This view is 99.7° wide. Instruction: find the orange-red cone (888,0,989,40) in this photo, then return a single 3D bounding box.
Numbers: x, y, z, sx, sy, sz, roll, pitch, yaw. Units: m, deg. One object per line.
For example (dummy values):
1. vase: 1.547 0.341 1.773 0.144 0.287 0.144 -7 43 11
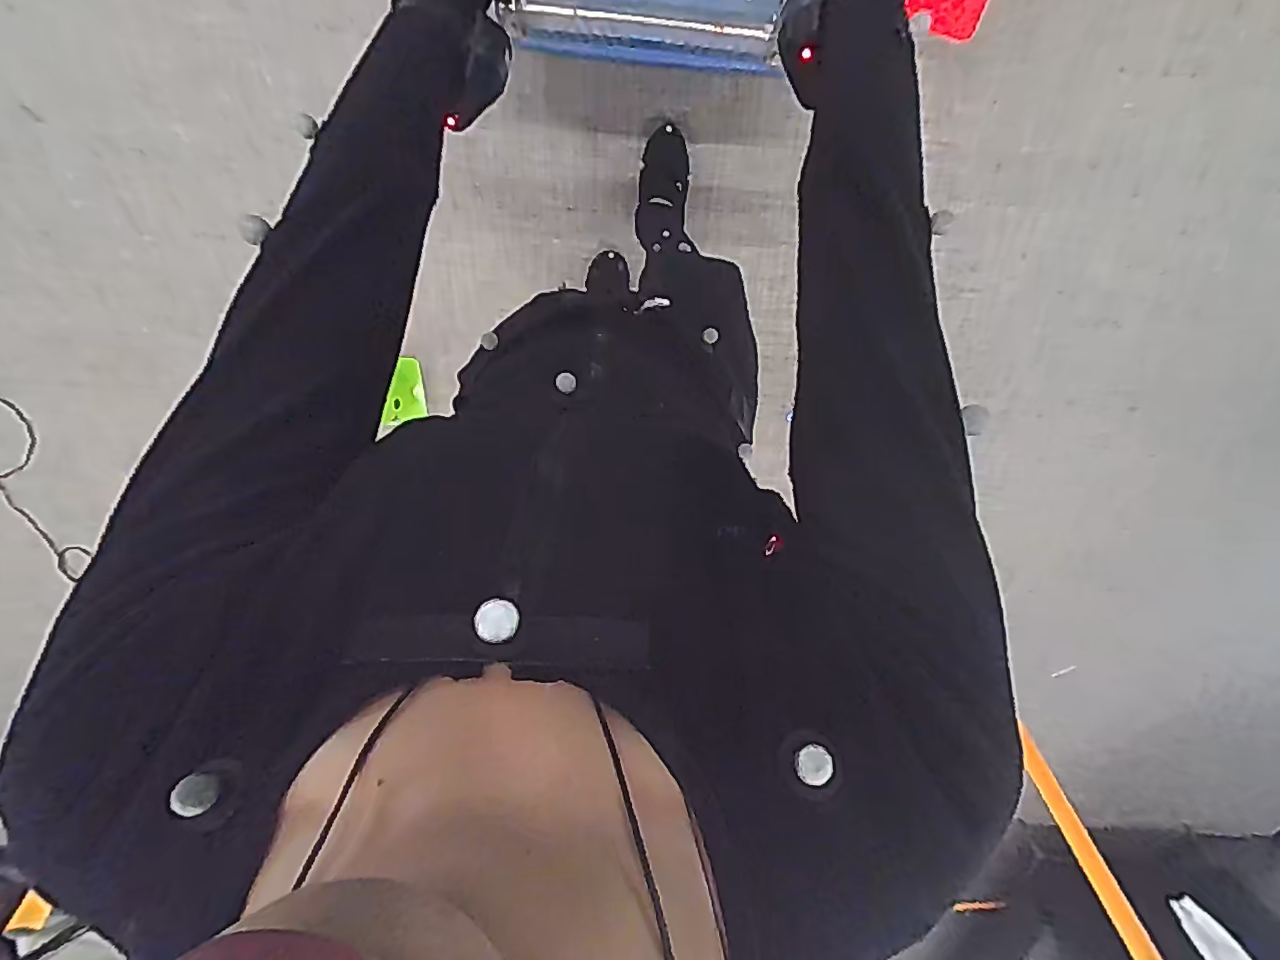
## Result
1. orange-red cone: 0.612 -0.925 0.914 0.198 0.360 0.199 13 119 -7
